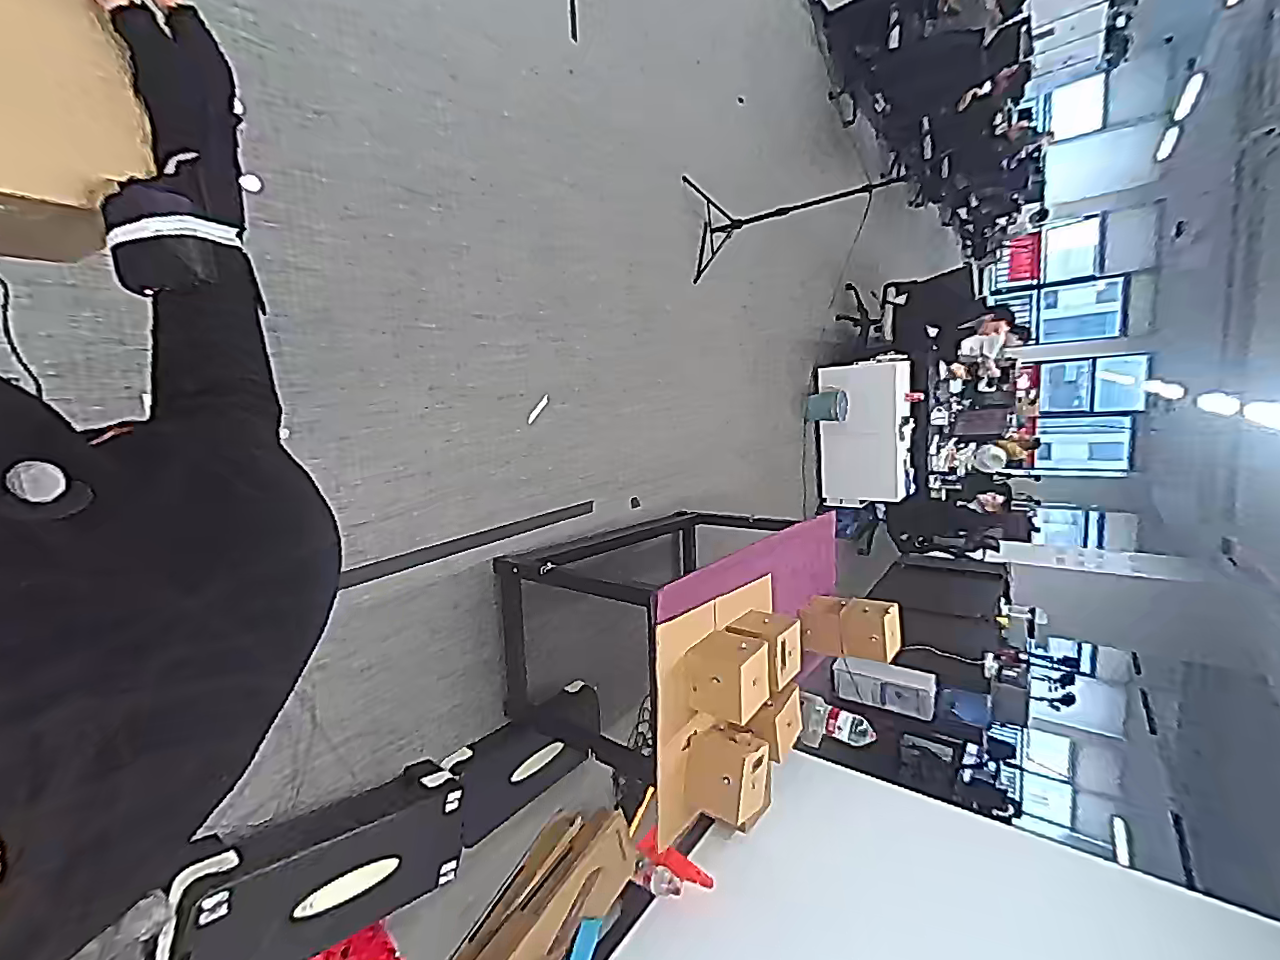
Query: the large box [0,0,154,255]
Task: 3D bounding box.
[{"bbox_3d":[-0.609,-0.341,0.314,0.408,0.320,0.320,-14,109,-54],"label":"large box"}]
